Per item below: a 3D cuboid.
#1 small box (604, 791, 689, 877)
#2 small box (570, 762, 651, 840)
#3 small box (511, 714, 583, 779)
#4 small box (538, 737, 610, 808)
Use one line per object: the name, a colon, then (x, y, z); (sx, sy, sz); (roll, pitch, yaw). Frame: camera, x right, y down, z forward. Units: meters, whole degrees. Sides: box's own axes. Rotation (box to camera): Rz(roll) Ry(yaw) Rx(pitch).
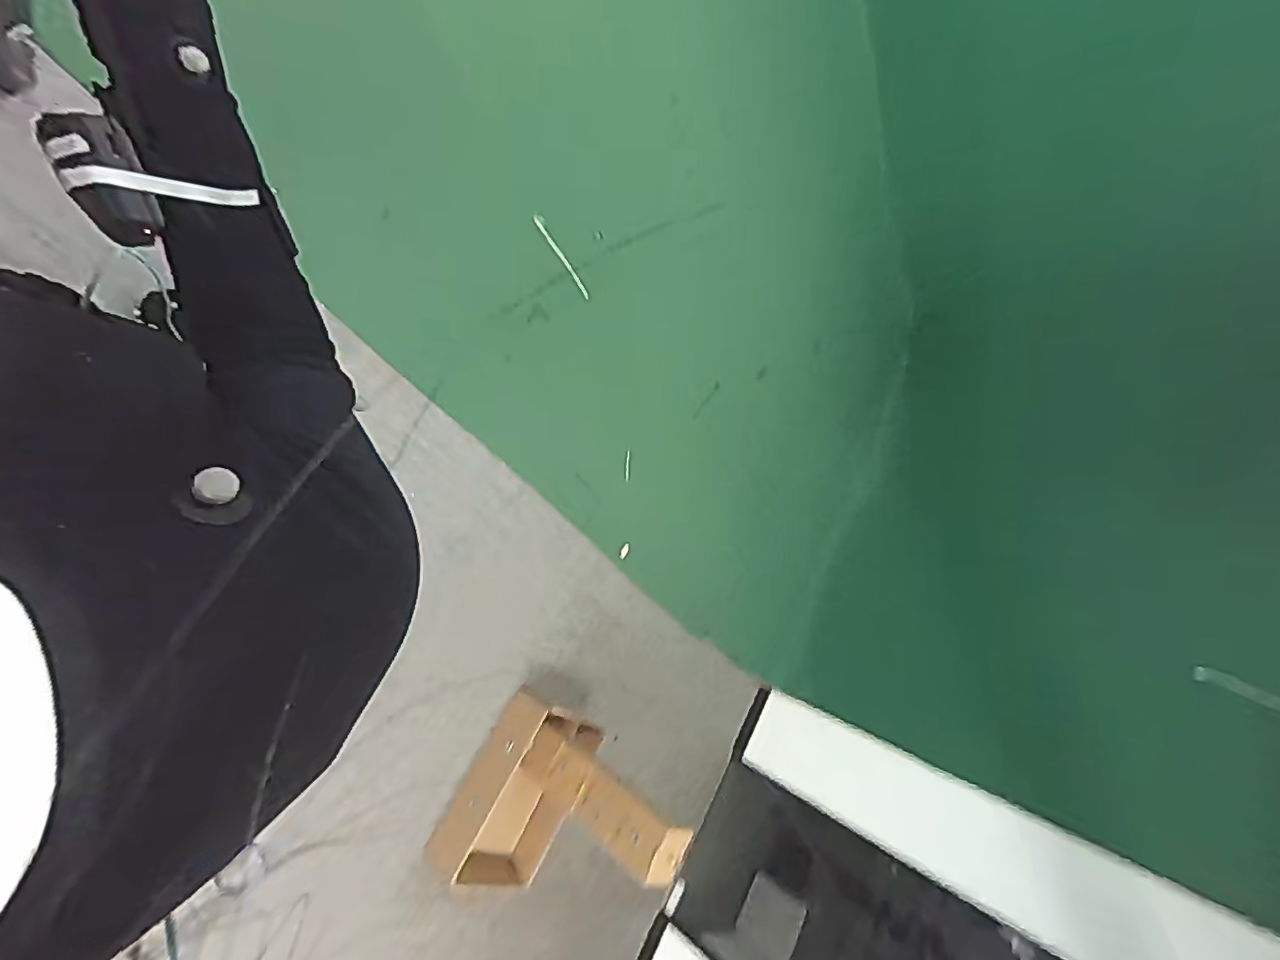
small box: (0.018, 1.119, 1.714); (0.168, 0.176, 0.179); (-59, 137, -14)
small box: (-0.102, 1.079, 1.818); (0.168, 0.176, 0.179); (-59, 138, -14)
small box: (-0.345, 1.005, 2.023); (0.168, 0.176, 0.179); (-58, 137, -18)
small box: (-0.225, 1.042, 1.919); (0.168, 0.176, 0.179); (-59, 138, -16)
